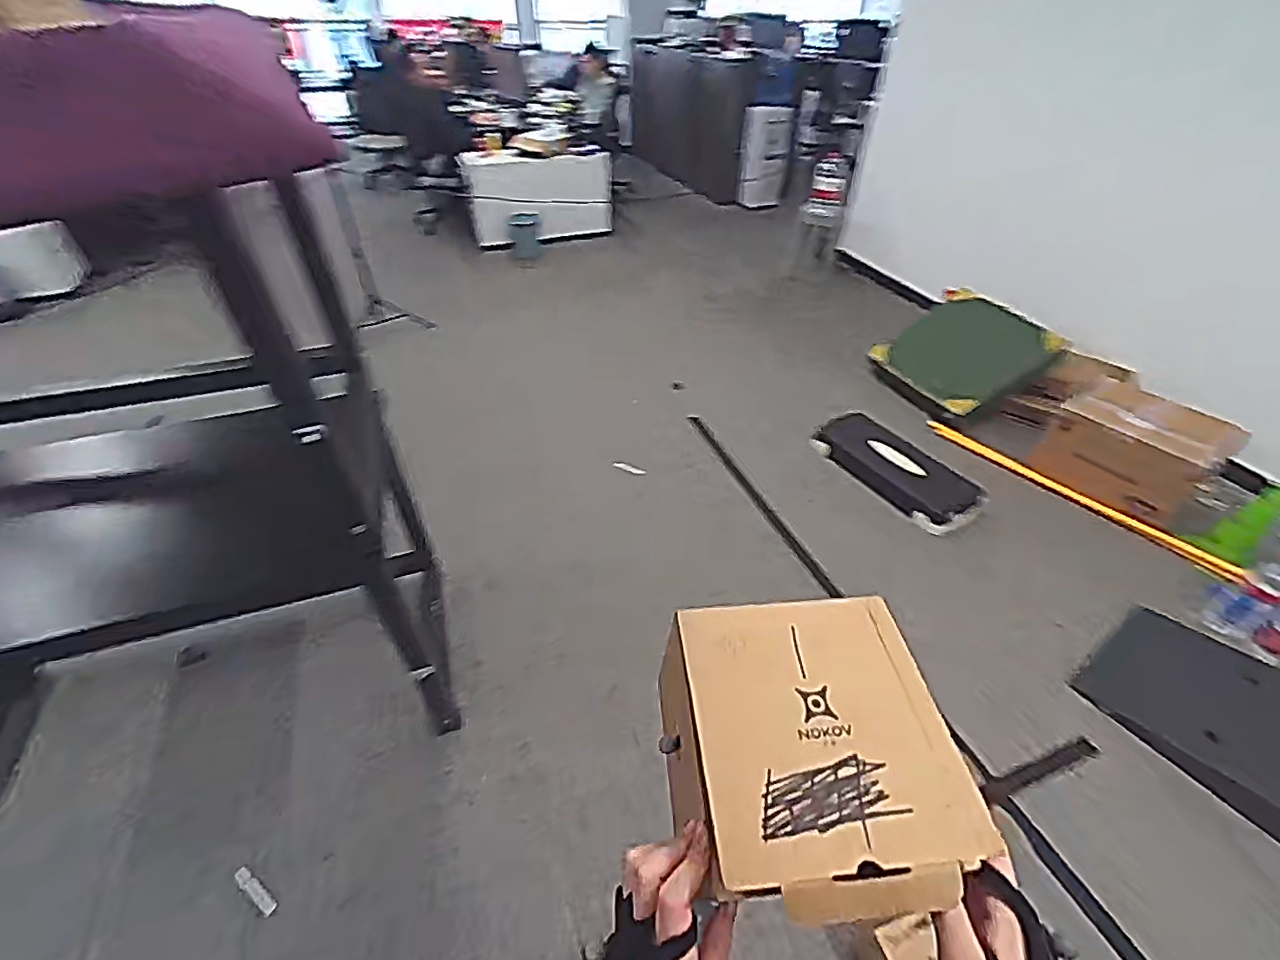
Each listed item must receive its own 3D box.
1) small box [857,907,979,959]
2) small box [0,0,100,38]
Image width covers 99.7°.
[{"bbox_3d":[0.555,0.972,1.044,0.168,0.176,0.179,-12,45,-14],"label":"small box"},{"bbox_3d":[-0.656,-0.497,0.478,0.179,0.176,0.168,-10,42,-10],"label":"small box"}]
